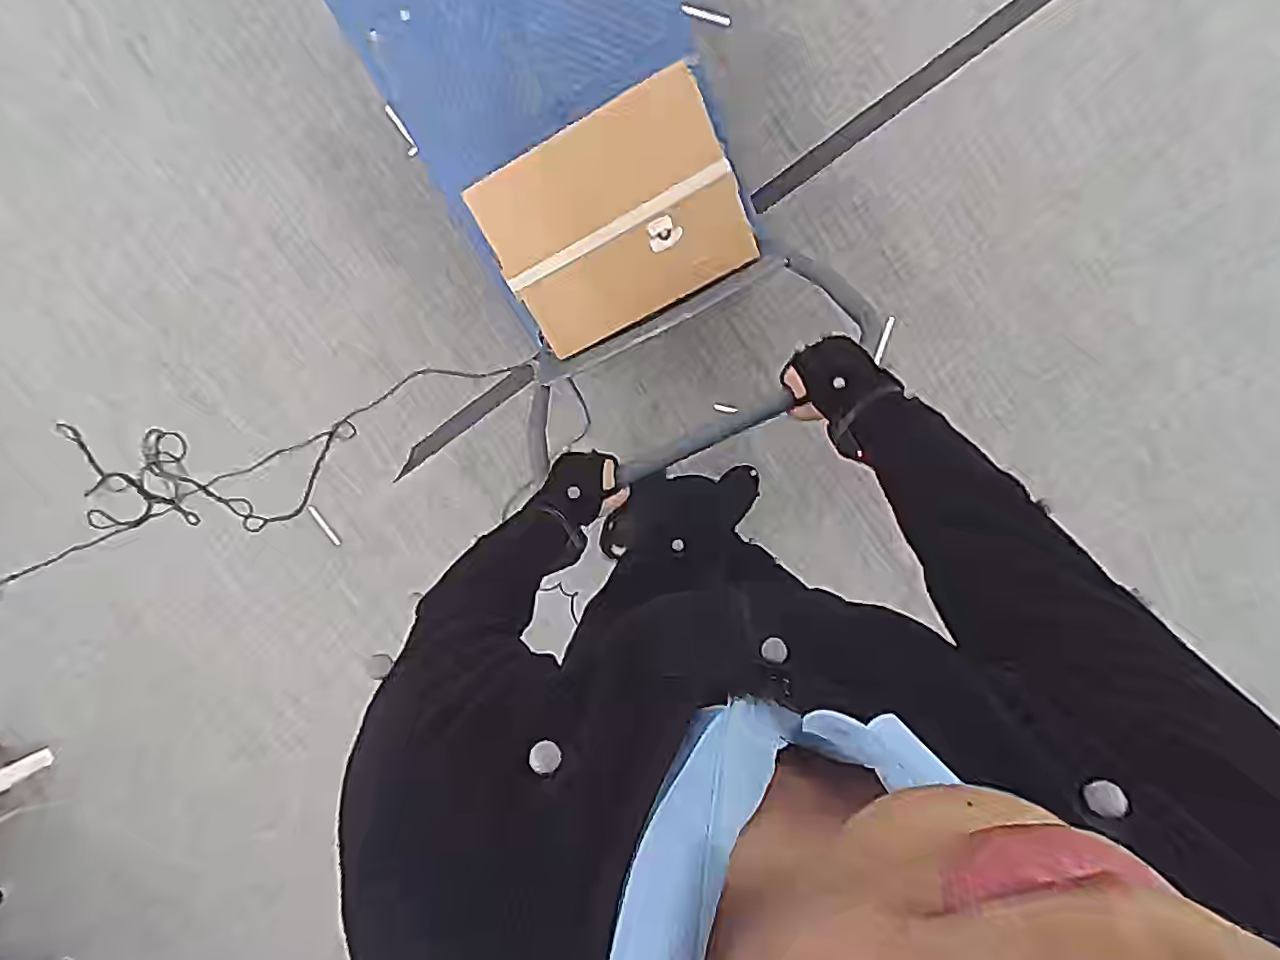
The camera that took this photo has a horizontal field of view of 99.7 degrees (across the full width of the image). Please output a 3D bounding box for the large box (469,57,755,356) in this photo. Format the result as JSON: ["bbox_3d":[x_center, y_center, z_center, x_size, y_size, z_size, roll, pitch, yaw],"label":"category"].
[{"bbox_3d":[-0.052,-0.504,1.048,0.408,0.320,0.320,-27,118,9],"label":"large box"}]
